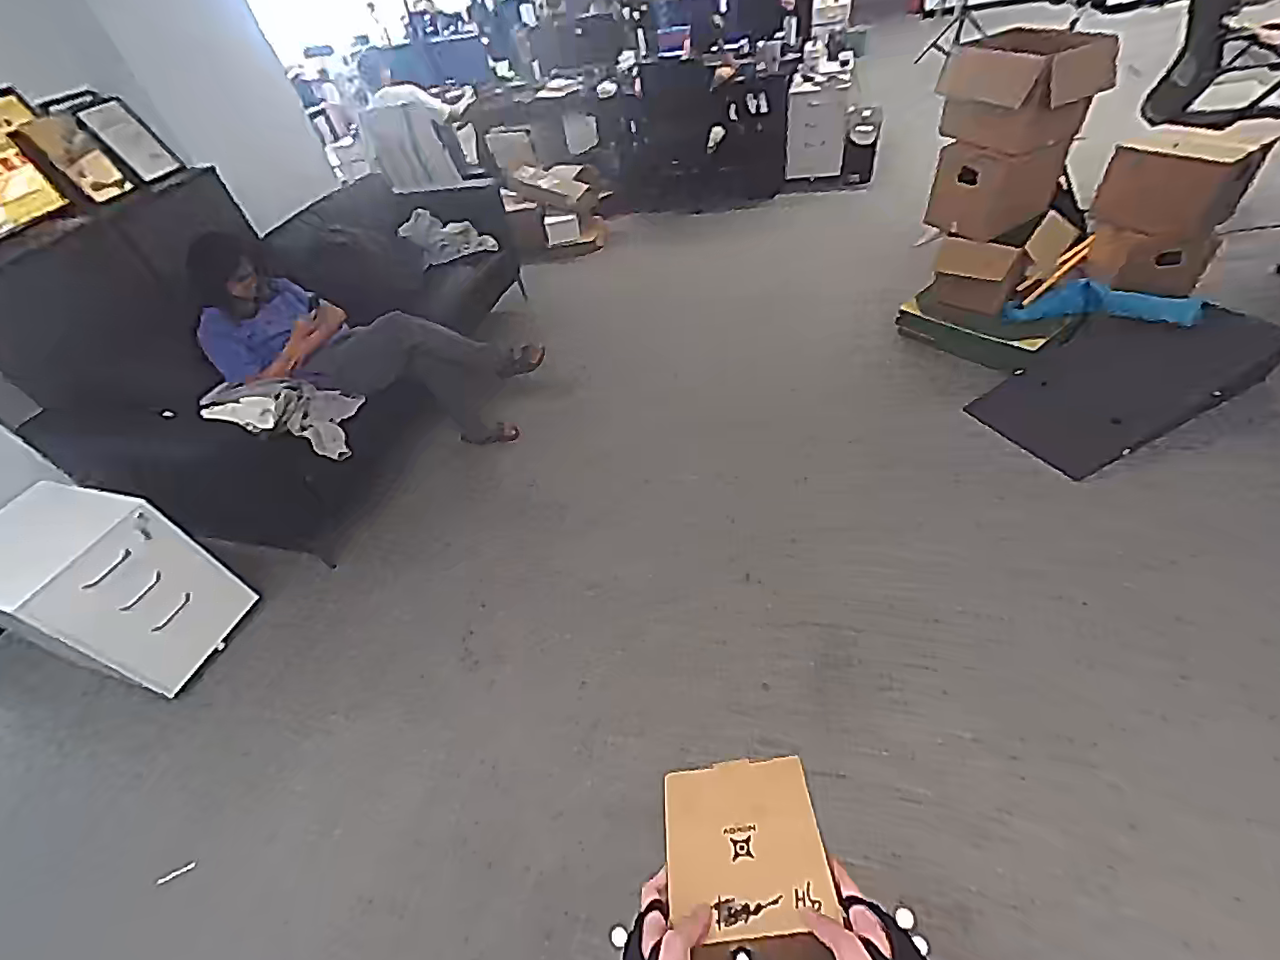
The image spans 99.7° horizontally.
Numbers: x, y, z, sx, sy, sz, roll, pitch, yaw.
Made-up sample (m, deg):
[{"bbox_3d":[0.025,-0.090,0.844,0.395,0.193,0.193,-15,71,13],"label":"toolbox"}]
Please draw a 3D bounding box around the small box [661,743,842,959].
[{"bbox_3d":[0.122,0.442,0.621,0.168,0.176,0.179,-13,27,8],"label":"small box"}]
